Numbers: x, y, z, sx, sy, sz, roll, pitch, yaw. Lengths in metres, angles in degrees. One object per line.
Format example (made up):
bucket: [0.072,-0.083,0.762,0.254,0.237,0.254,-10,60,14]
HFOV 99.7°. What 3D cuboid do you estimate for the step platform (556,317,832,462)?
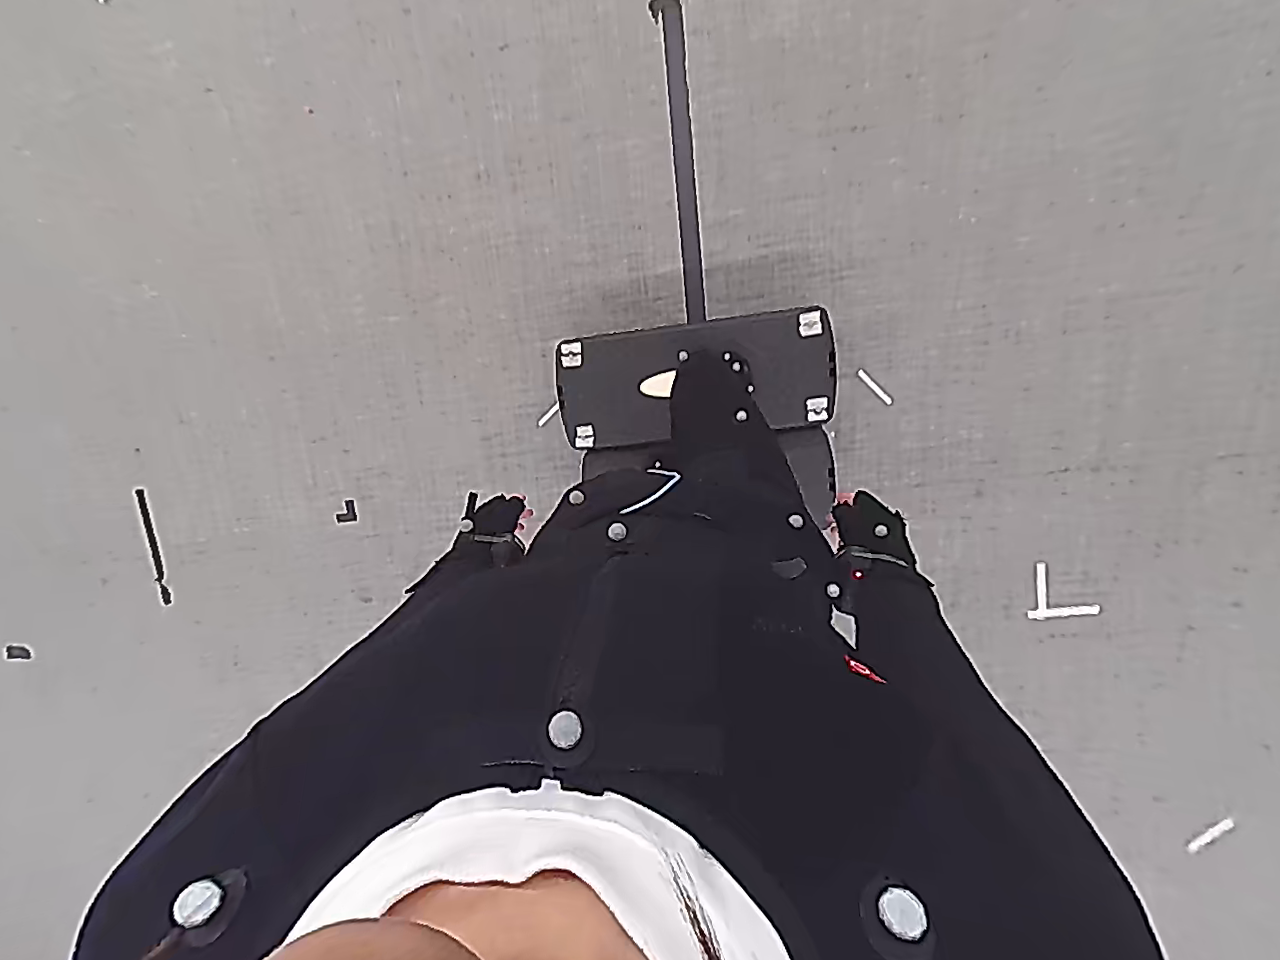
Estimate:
step platform: [0.130,-0.225,1.384,0.684,0.204,0.286,-7,101,8]
